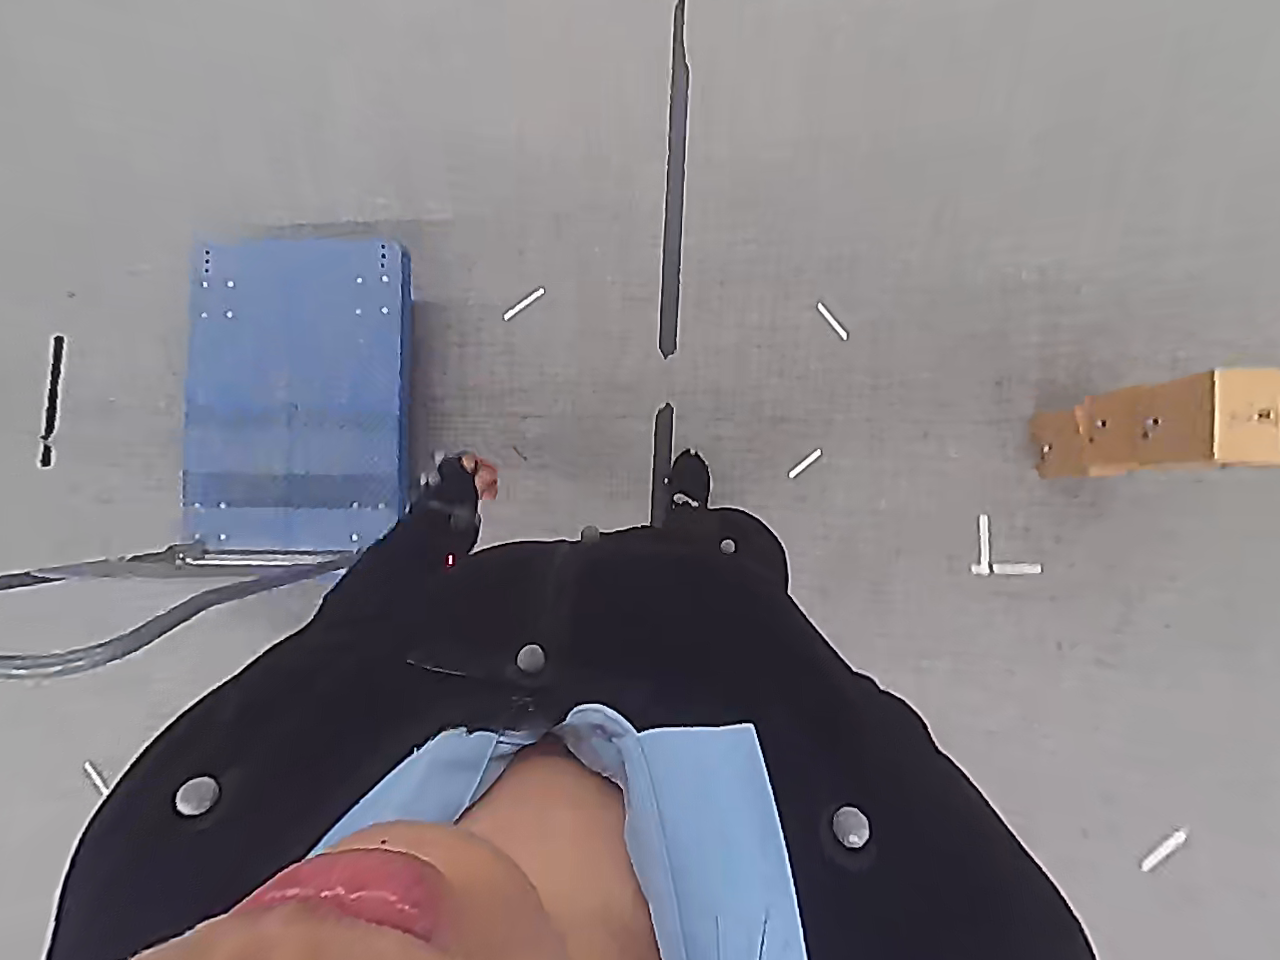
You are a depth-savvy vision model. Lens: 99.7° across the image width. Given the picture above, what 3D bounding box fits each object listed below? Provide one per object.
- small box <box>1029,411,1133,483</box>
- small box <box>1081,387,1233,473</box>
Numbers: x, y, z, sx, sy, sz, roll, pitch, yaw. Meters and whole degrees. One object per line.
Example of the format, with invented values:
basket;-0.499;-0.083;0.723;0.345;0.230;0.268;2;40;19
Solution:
small box;1.121;-0.089;1.342;0.179;0.176;0.168;-10;86;3
small box;1.117;-0.103;1.180;0.179;0.176;0.168;2;88;4
